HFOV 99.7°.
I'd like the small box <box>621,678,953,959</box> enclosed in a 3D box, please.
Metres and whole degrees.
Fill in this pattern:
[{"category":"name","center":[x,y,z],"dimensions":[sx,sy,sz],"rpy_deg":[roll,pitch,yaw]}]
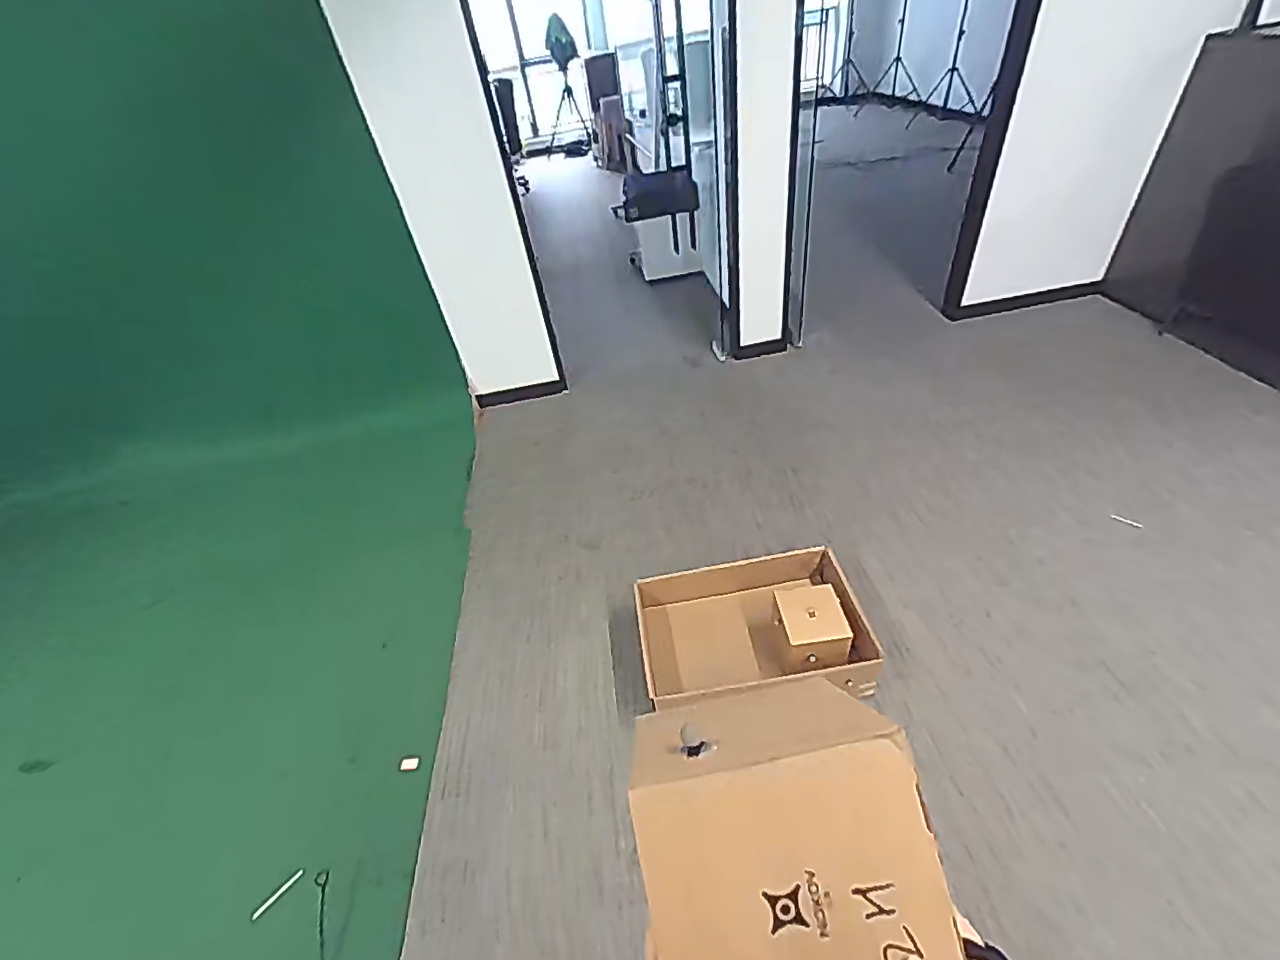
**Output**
[{"category":"small box","center":[0.090,0.259,0.400],"dimensions":[0.179,0.176,0.168],"rpy_deg":[-11,81,-1]}]

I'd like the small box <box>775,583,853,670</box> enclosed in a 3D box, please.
[{"category":"small box","center":[0.484,0.419,1.525],"dimensions":[0.168,0.176,0.179],"rpy_deg":[-9,41,2]}]
